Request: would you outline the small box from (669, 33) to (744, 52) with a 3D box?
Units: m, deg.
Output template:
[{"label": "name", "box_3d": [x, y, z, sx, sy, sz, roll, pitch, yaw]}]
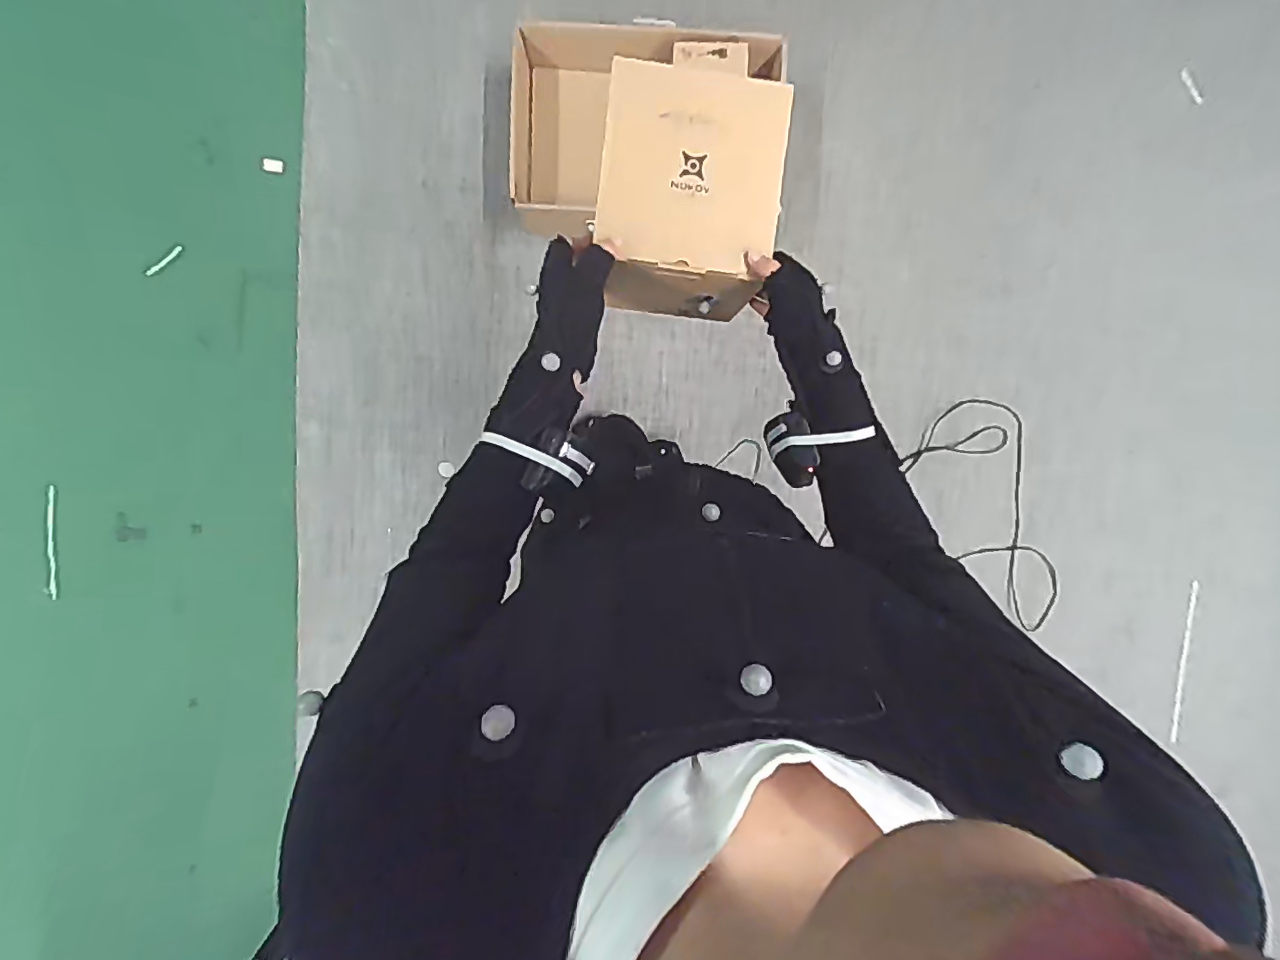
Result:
[{"label": "small box", "box_3d": [0.148, -0.883, 1.254, 0.168, 0.176, 0.179, -2, 95, 1]}]

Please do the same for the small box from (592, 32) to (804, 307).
[{"label": "small box", "box_3d": [0.045, -0.286, 0.542, 0.168, 0.176, 0.179, 6, 93, -4]}]
